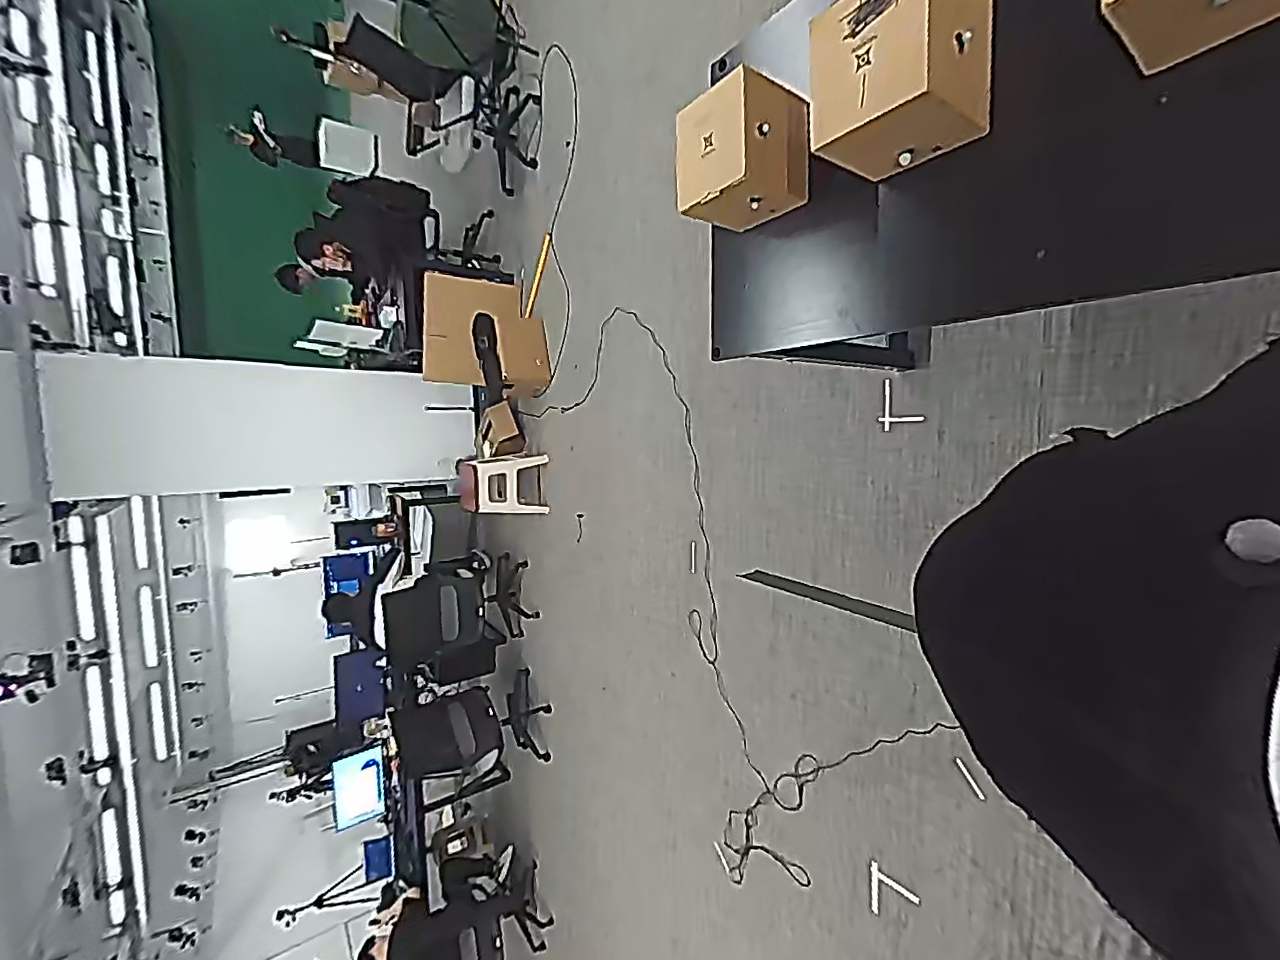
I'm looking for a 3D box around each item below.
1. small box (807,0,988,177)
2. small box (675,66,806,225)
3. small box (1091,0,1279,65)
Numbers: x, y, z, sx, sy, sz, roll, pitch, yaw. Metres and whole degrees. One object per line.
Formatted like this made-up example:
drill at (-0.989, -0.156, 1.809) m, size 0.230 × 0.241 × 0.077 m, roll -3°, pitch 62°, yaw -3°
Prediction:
small box at (0.347, -0.548, 0.733) m, size 0.168 × 0.176 × 0.179 m, roll 5°, pitch 98°, yaw 54°
small box at (0.179, -0.575, 0.964) m, size 0.168 × 0.176 × 0.179 m, roll 3°, pitch 95°, yaw 53°
small box at (0.534, -0.522, 0.476) m, size 0.179 × 0.176 × 0.168 m, roll -1°, pitch 93°, yaw 55°
